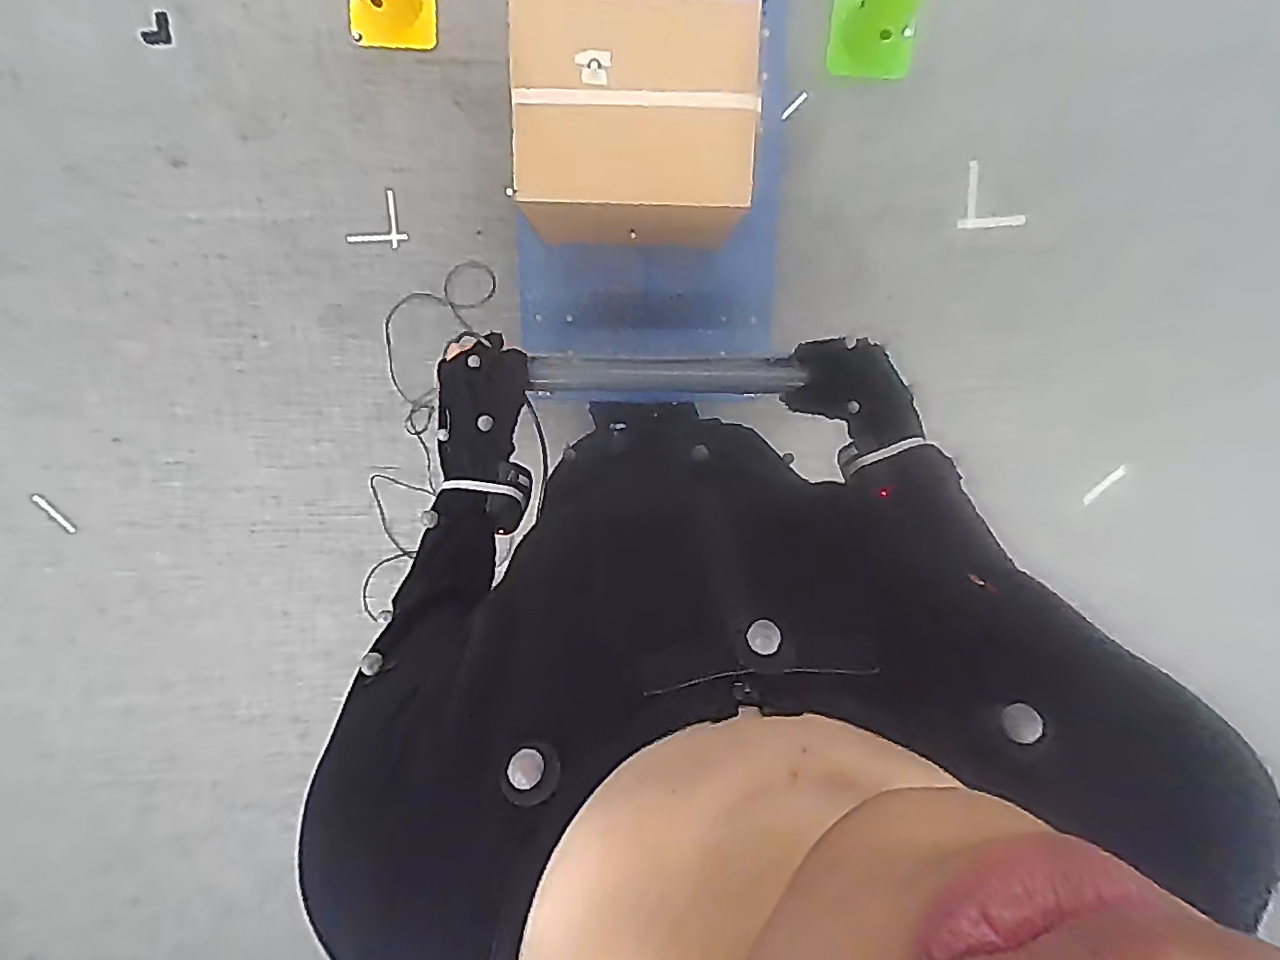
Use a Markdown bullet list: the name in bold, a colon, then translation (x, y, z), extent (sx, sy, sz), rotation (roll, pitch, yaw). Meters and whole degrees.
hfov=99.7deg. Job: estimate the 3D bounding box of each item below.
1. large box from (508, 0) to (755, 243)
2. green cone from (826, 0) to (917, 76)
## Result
- **large box**: translation (-0.012, -0.650, 1.038), extent (0.408, 0.320, 0.320), rotation (1, 101, 0)
- **green cone**: translation (0.553, -1.045, 1.115), extent (0.202, 0.368, 0.200), rotation (3, 101, -2)
